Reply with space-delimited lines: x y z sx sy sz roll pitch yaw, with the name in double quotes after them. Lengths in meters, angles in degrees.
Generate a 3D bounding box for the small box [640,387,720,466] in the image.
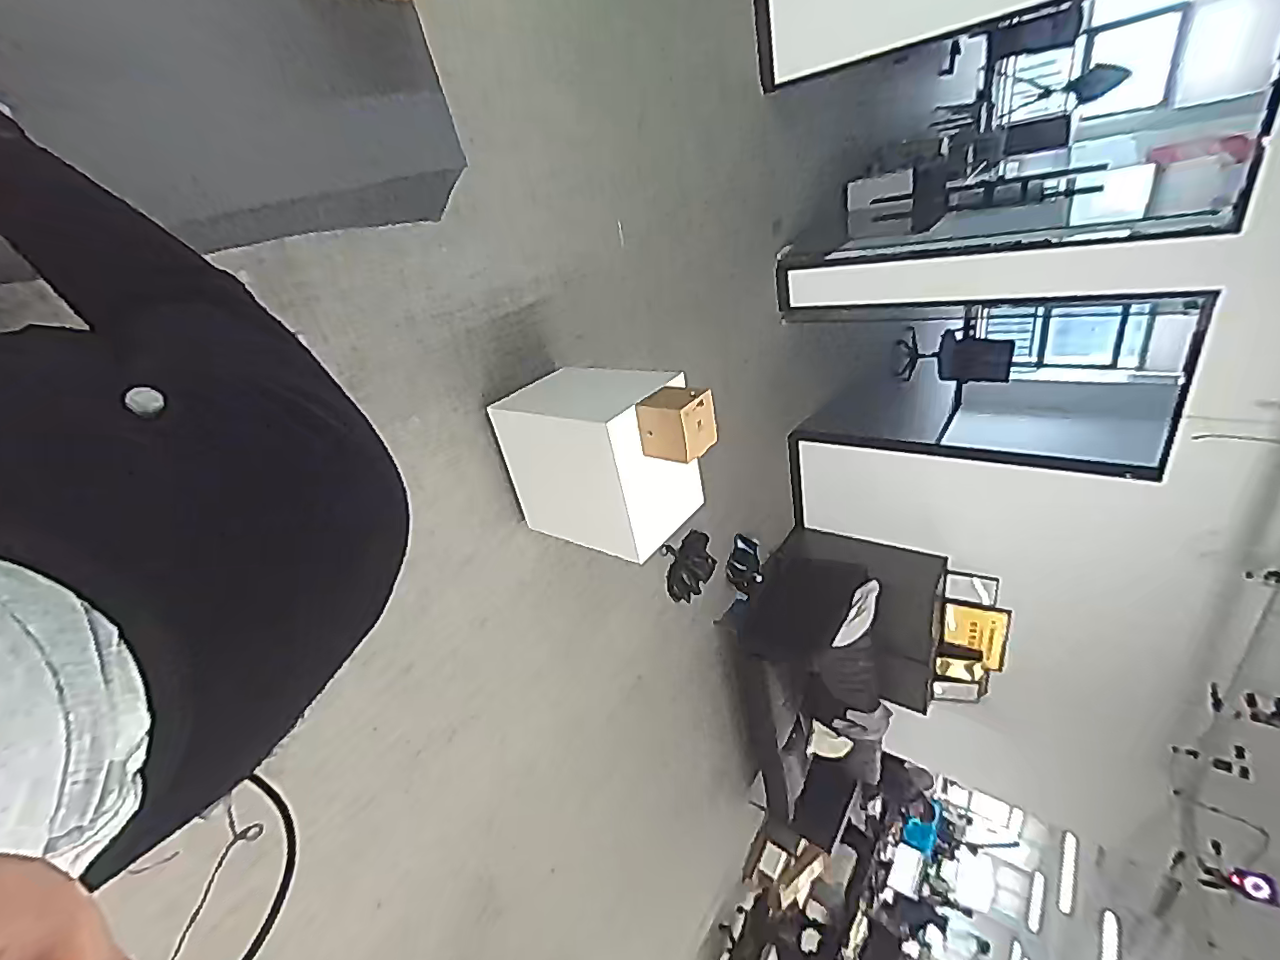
0.122 -0.167 1.624 0.168 0.176 0.179 -39 129 -40 "small box"
